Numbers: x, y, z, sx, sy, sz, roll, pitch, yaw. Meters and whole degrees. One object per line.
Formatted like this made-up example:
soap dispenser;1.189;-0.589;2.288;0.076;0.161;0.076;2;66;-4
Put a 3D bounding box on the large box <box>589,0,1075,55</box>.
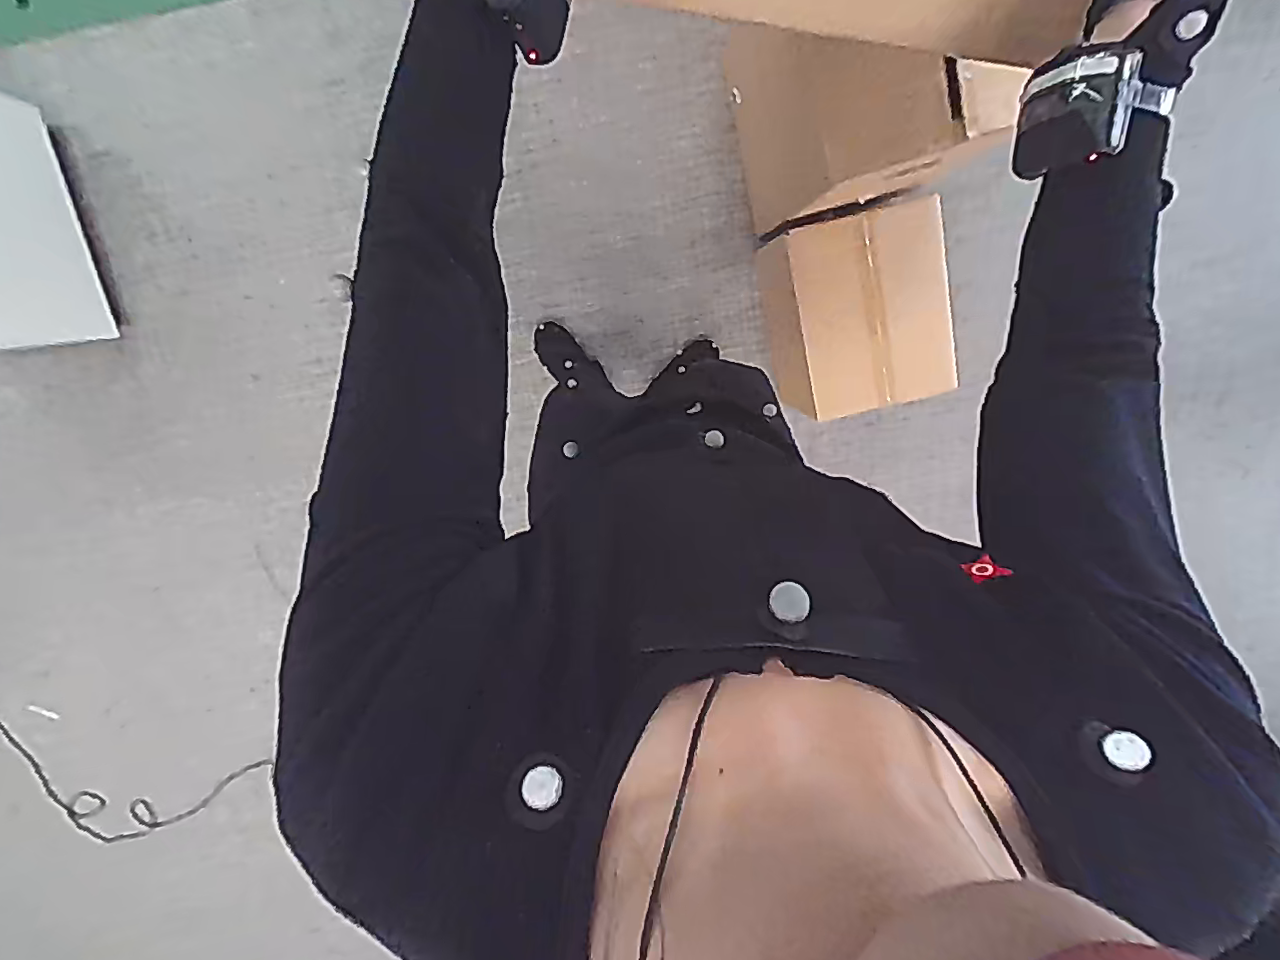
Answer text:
large box;0.155;-0.568;0.399;0.408;0.320;0.320;11;141;3
